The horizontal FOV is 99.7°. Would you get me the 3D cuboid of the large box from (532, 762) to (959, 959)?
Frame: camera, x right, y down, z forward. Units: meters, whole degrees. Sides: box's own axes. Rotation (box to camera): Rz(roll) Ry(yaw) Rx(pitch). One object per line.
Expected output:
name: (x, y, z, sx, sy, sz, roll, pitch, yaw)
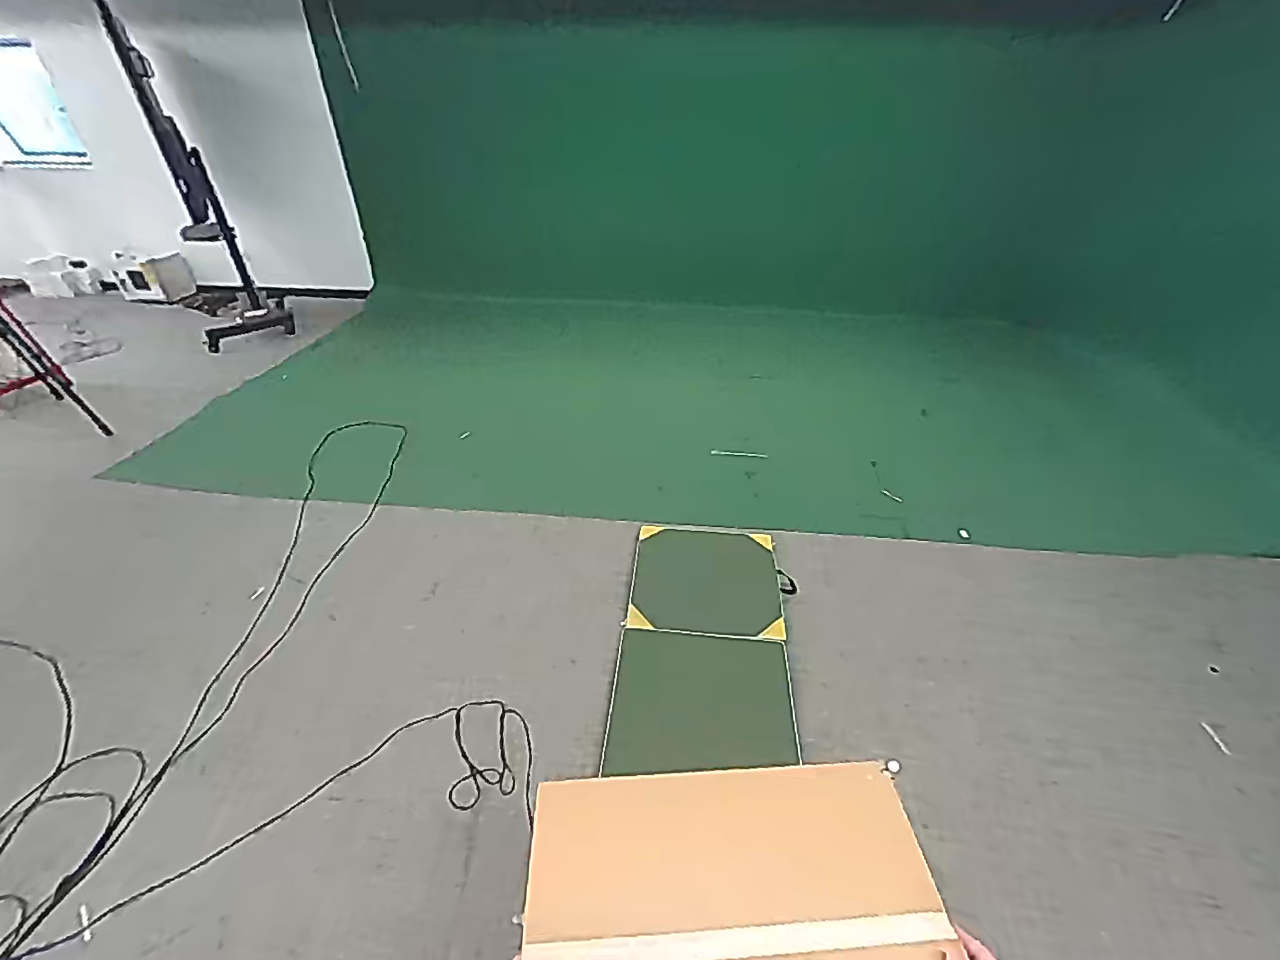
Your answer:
large box: (0.096, 0.556, 0.599, 0.408, 0.320, 0.320, -2, 36, -2)
